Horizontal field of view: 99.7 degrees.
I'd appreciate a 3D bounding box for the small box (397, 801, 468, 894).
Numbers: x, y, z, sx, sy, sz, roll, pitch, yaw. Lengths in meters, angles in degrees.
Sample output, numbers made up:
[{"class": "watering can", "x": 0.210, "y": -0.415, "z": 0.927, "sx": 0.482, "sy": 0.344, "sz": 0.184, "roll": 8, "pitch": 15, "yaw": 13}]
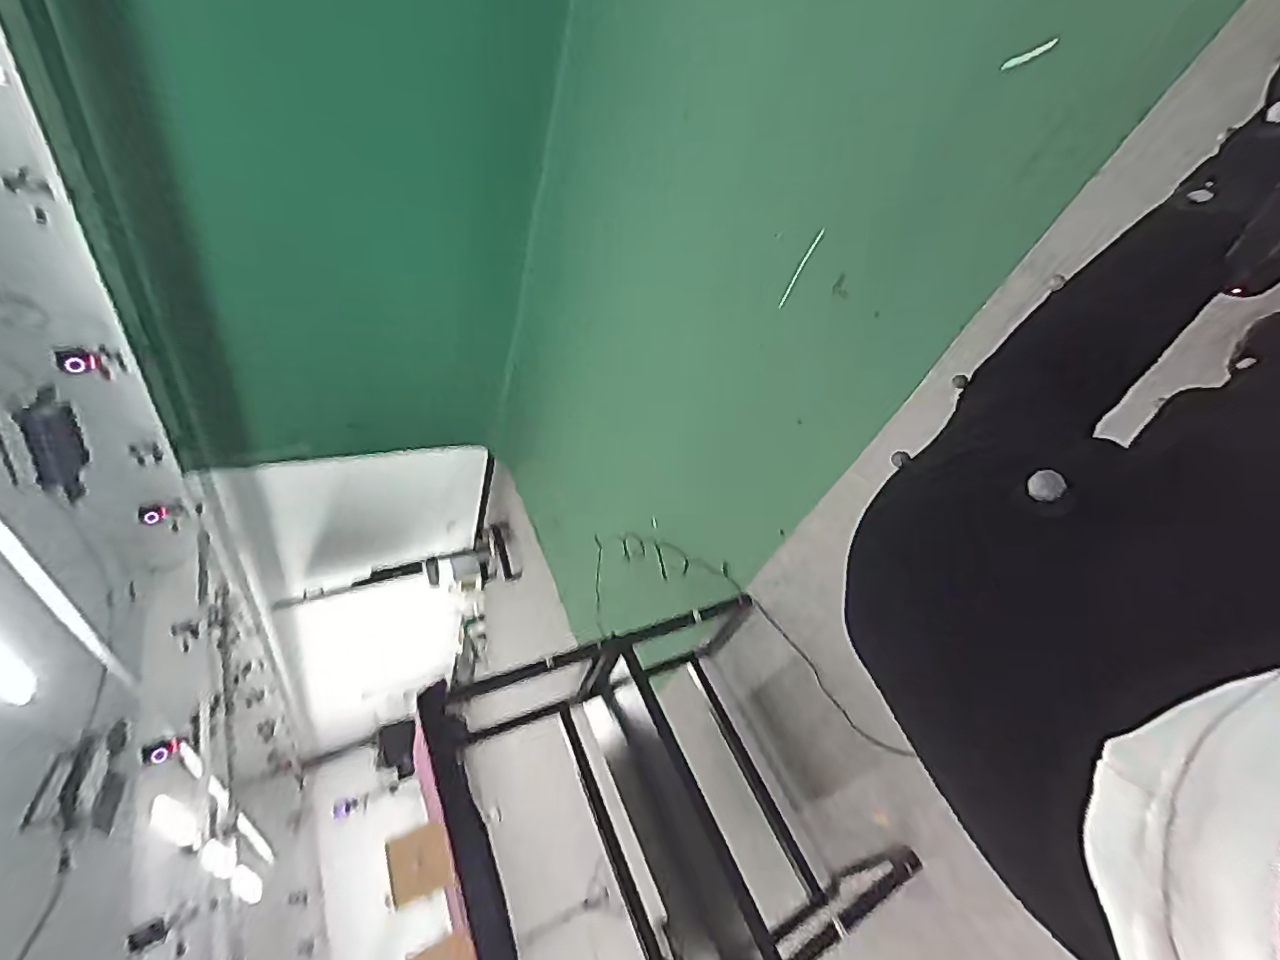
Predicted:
[{"class": "small box", "x": -0.636, "y": 1.124, "z": 1.656, "sx": 0.179, "sy": 0.176, "sz": 0.168, "roll": 61, "pitch": 145, "yaw": 30}]
